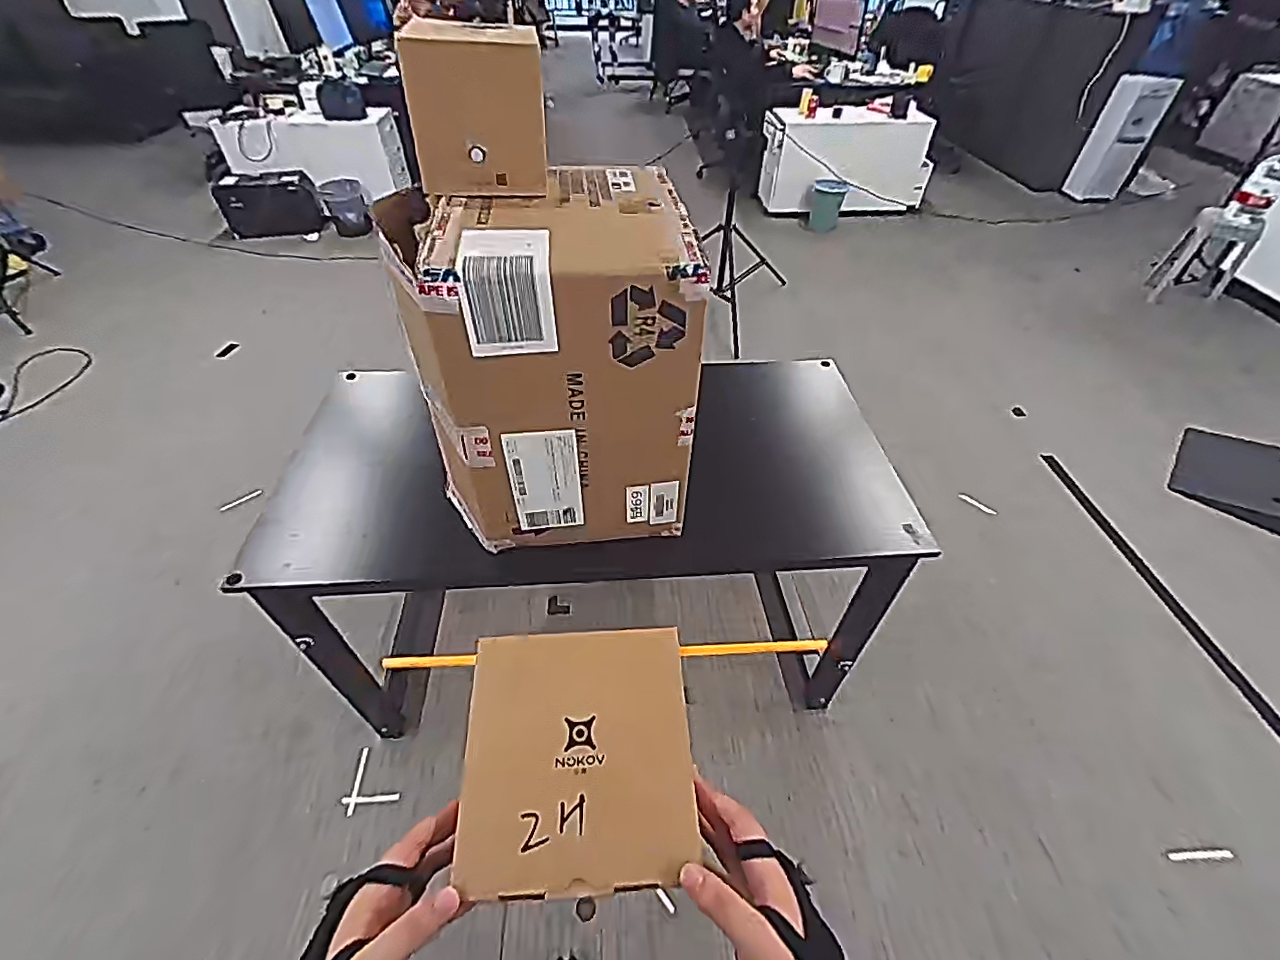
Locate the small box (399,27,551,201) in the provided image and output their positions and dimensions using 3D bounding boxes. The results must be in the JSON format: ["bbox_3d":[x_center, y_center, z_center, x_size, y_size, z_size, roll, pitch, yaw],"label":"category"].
[{"bbox_3d":[-0.211,-0.497,0.738,0.168,0.176,0.179,-4,44,-9],"label":"small box"}]

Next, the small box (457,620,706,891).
[{"bbox_3d":[-0.044,0.238,0.464,0.168,0.176,0.179,-2,53,-3],"label":"small box"}]
